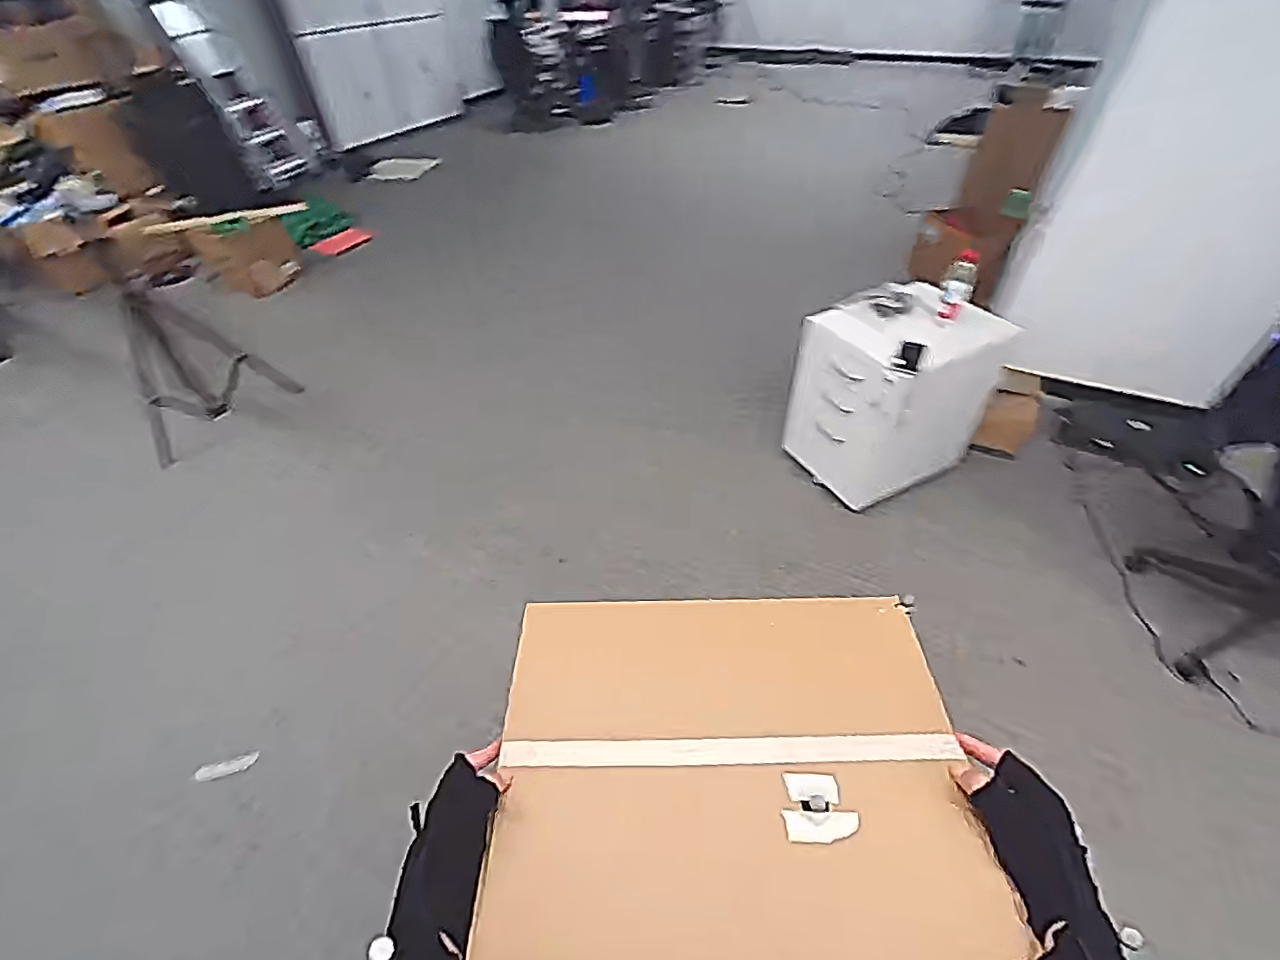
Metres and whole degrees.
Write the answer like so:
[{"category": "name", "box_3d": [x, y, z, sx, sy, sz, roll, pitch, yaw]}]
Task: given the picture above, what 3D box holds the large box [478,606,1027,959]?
[{"category": "large box", "box_3d": [0.077, 0.360, 0.588, 0.408, 0.320, 0.320, -2, 45, 0]}]
